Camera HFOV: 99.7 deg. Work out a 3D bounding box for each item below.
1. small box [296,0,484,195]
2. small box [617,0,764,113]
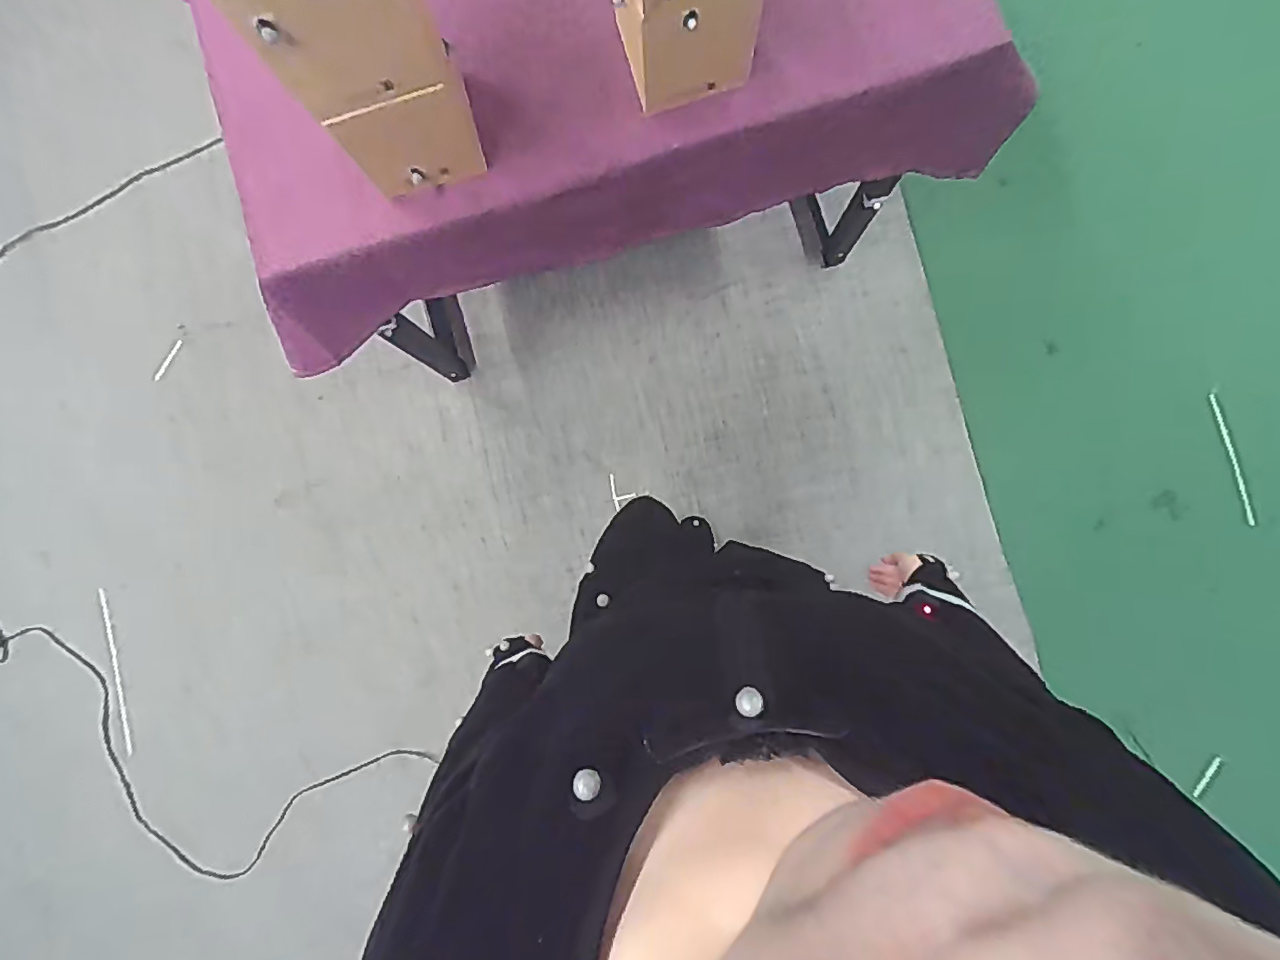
[{"bbox_3d":[-0.341,-0.549,0.768,0.168,0.176,0.179,-15,86,2],"label":"small box"},{"bbox_3d":[0.061,-0.670,0.756,0.168,0.176,0.179,-17,85,3],"label":"small box"}]
